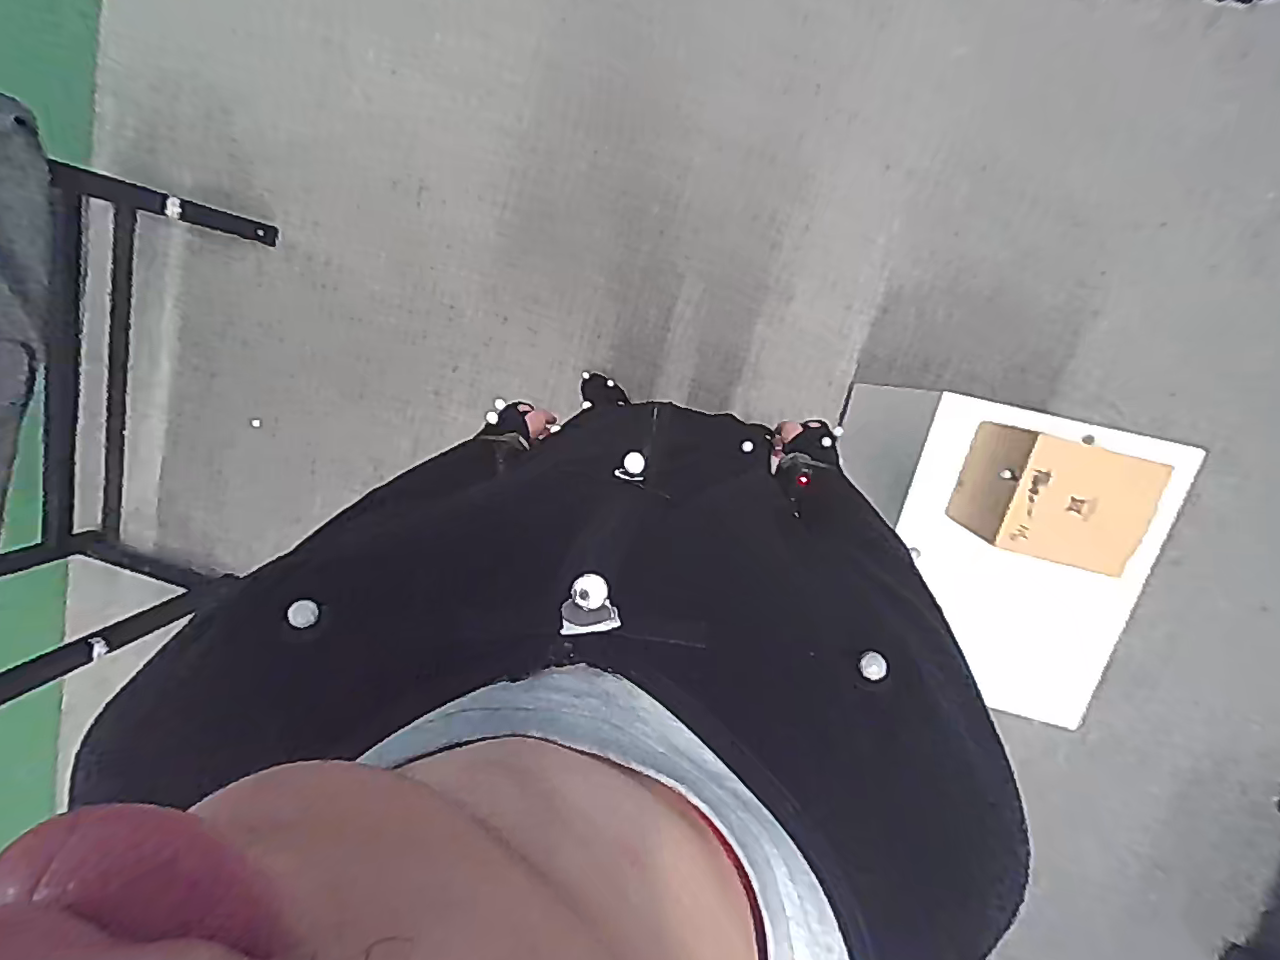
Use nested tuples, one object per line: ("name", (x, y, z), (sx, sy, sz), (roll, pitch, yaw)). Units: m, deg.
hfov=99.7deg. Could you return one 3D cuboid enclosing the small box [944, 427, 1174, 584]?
("small box", (0.593, 0.026, 0.794), (0.179, 0.176, 0.168), (15, 104, 4))
